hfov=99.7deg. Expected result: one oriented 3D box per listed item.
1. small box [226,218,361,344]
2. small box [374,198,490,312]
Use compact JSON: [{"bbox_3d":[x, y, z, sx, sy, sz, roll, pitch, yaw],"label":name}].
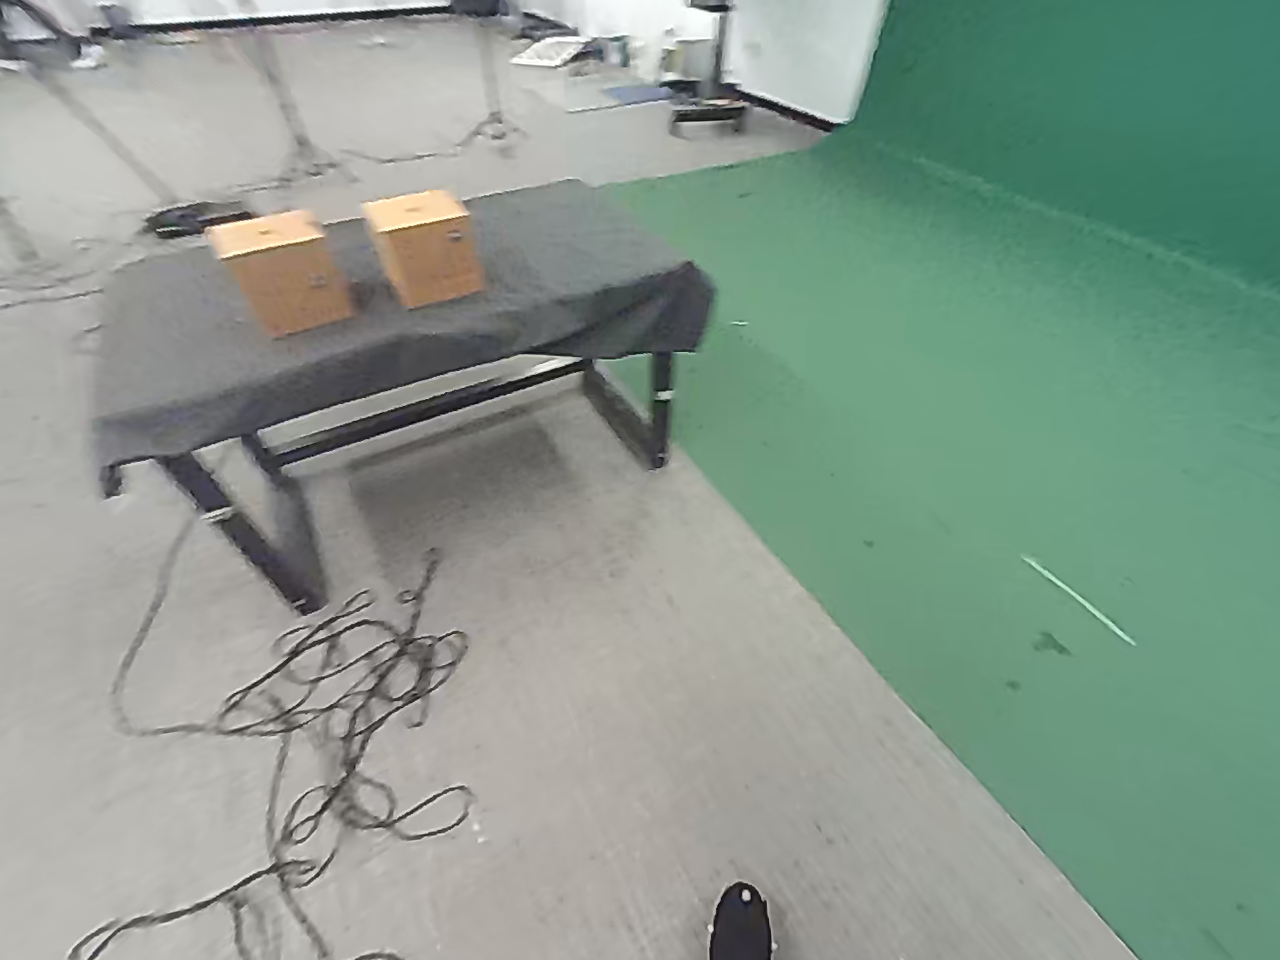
[{"bbox_3d":[-0.693,-0.404,1.100,0.179,0.176,0.168,-26,51,-22],"label":"small box"},{"bbox_3d":[-0.448,-0.488,1.181,0.179,0.176,0.168,-23,51,-21],"label":"small box"}]
